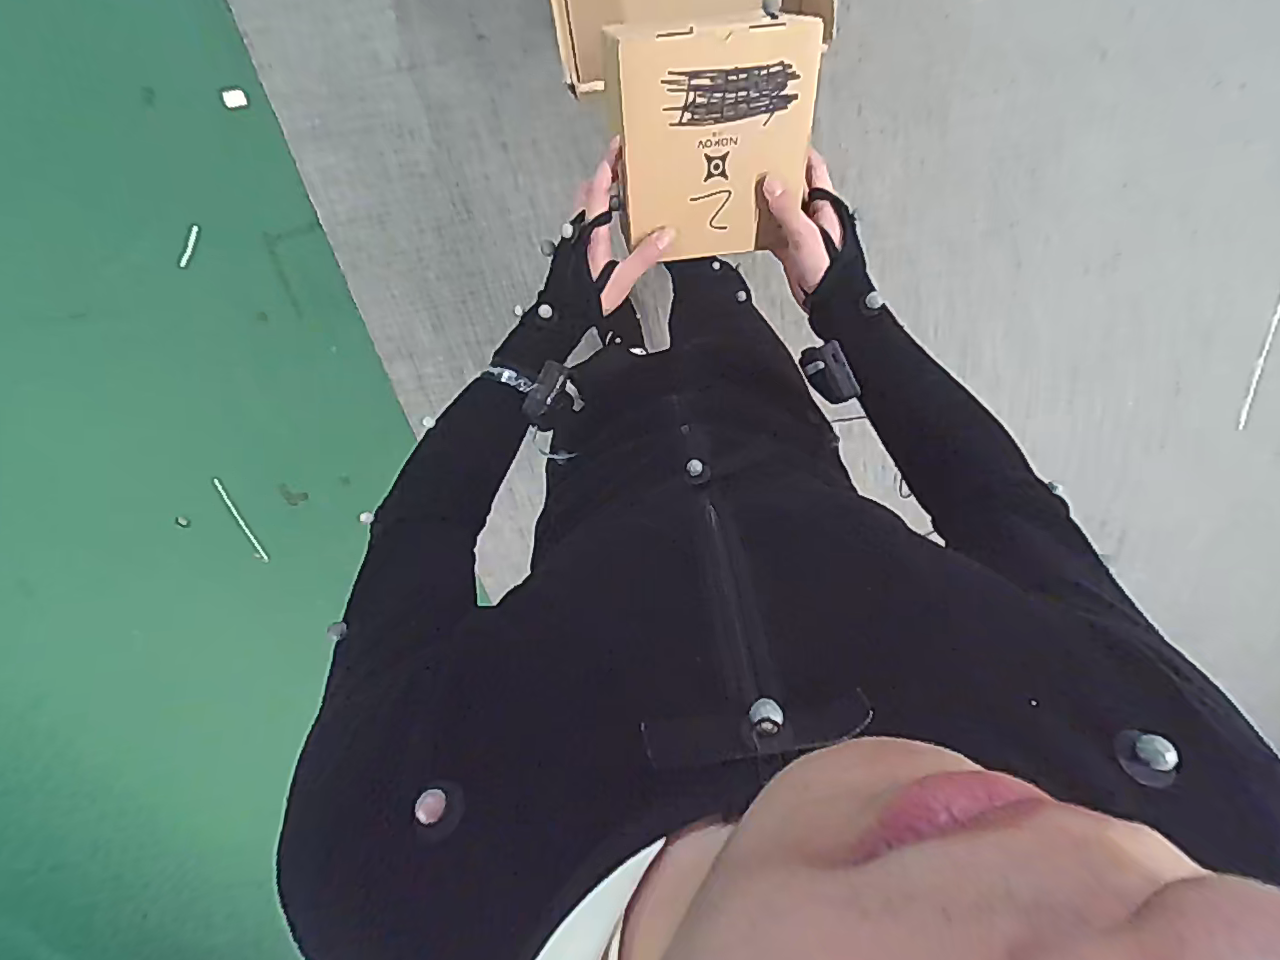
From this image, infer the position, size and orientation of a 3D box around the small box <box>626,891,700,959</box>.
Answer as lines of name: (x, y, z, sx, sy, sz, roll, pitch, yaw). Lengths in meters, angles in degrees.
small box: (0.066, 1.286, 1.499, 0.179, 0.176, 0.168, -17, 117, 6)

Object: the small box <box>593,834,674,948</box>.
small box: (-0.014, 1.018, 1.346, 0.179, 0.176, 0.168, -8, 120, 2)
